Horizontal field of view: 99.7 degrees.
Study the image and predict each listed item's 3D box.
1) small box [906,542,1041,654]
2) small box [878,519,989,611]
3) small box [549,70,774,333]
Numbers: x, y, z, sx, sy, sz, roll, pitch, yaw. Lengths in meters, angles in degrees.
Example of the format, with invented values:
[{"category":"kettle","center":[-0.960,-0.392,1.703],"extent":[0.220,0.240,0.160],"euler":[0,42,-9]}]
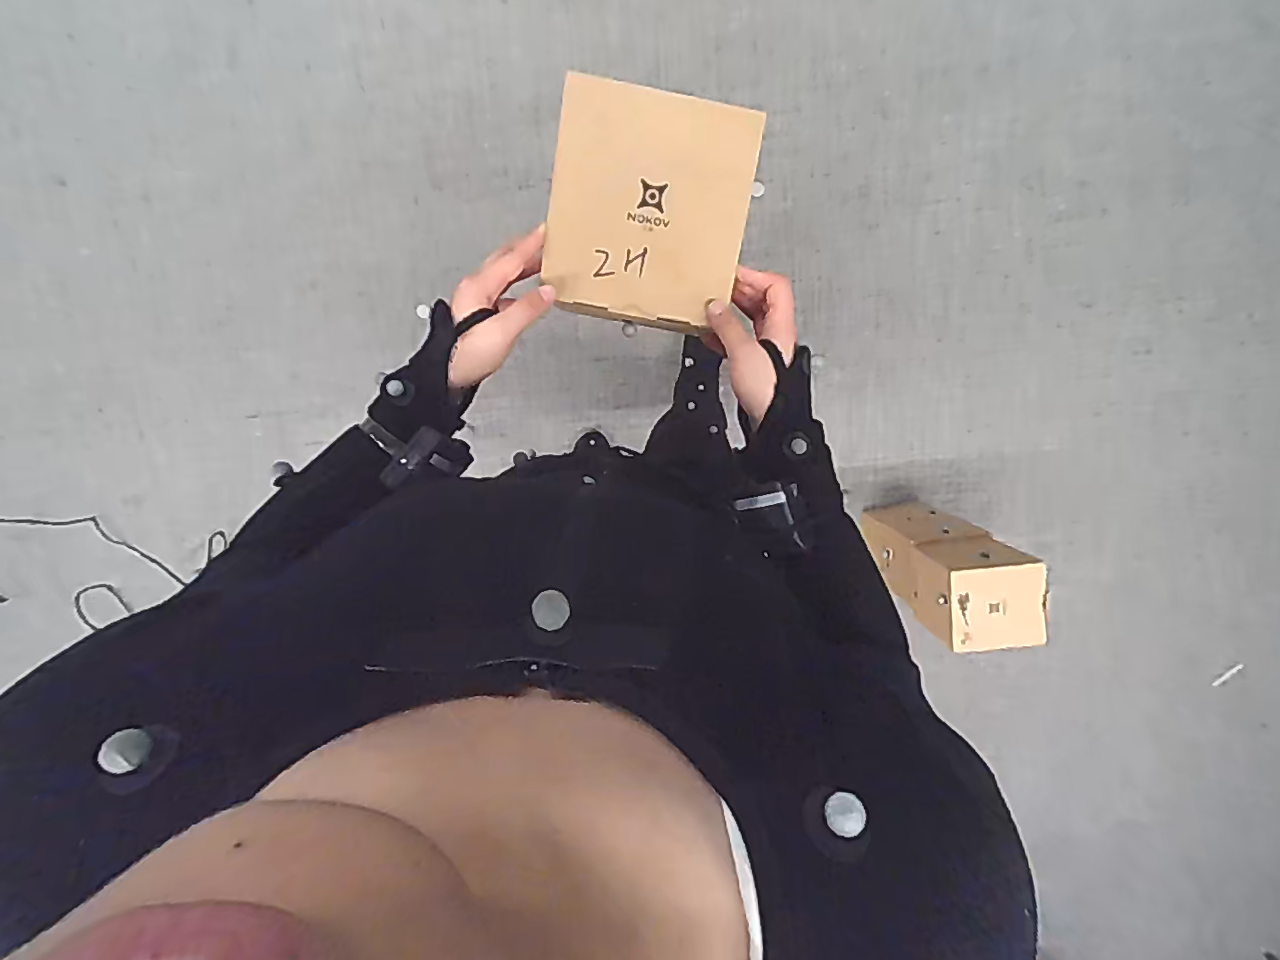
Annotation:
[{"category":"small box","center":[0.667,0.231,1.096],"extent":[0.179,0.176,0.168],"euler":[-7,99,2]},{"category":"small box","center":[0.675,0.194,1.256],"extent":[0.179,0.176,0.168],"euler":[-6,99,3]},{"category":"small box","center":[0.012,-0.246,0.528],"extent":[0.168,0.176,0.179],"euler":[9,104,-4]}]
